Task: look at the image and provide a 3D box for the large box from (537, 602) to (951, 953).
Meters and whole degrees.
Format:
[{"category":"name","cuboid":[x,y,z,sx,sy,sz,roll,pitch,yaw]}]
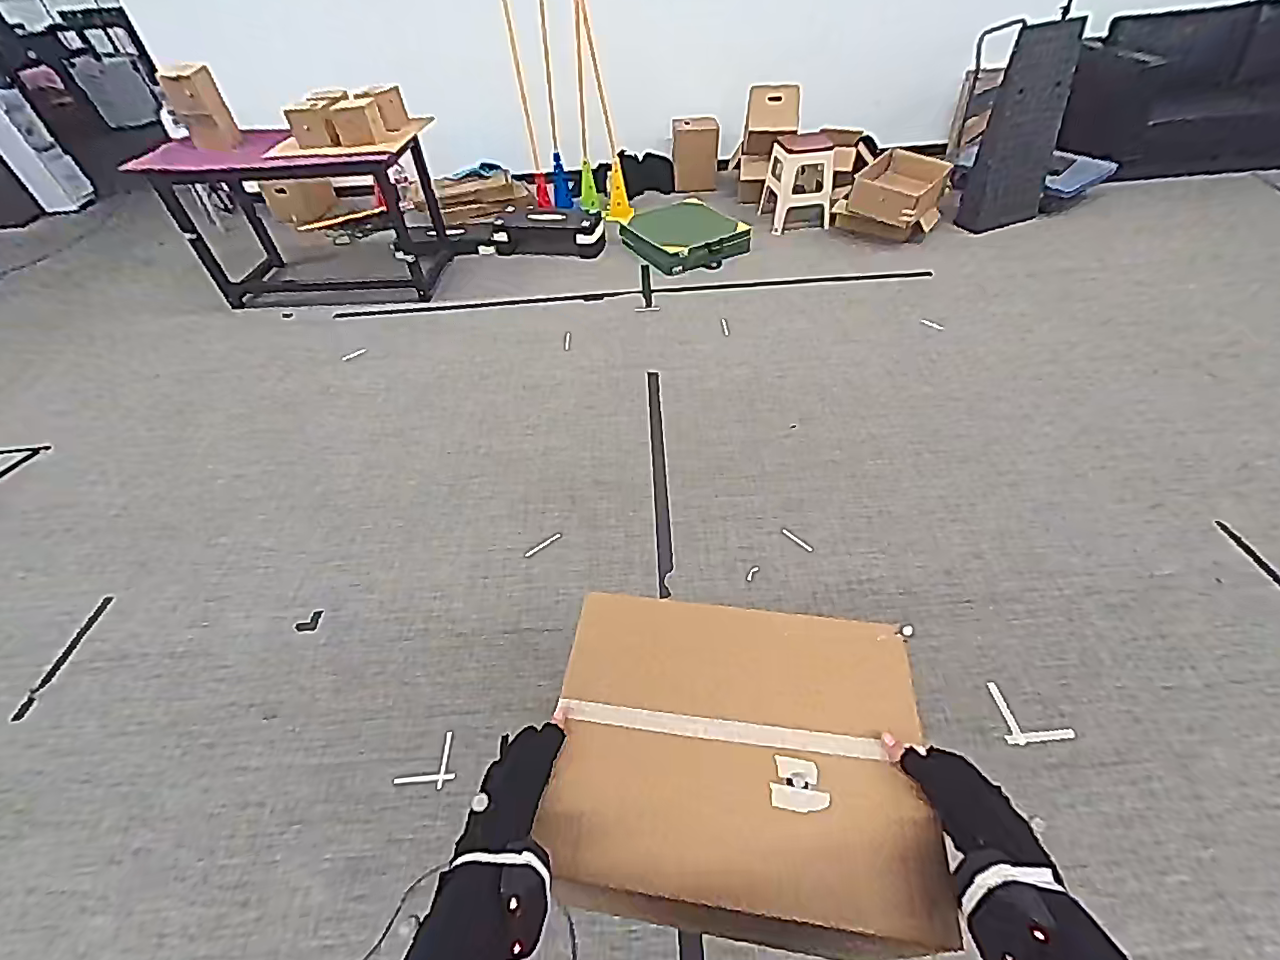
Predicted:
[{"category":"large box","cuboid":[0.115,0.393,0.724,0.408,0.320,0.320,5,48,7]}]
